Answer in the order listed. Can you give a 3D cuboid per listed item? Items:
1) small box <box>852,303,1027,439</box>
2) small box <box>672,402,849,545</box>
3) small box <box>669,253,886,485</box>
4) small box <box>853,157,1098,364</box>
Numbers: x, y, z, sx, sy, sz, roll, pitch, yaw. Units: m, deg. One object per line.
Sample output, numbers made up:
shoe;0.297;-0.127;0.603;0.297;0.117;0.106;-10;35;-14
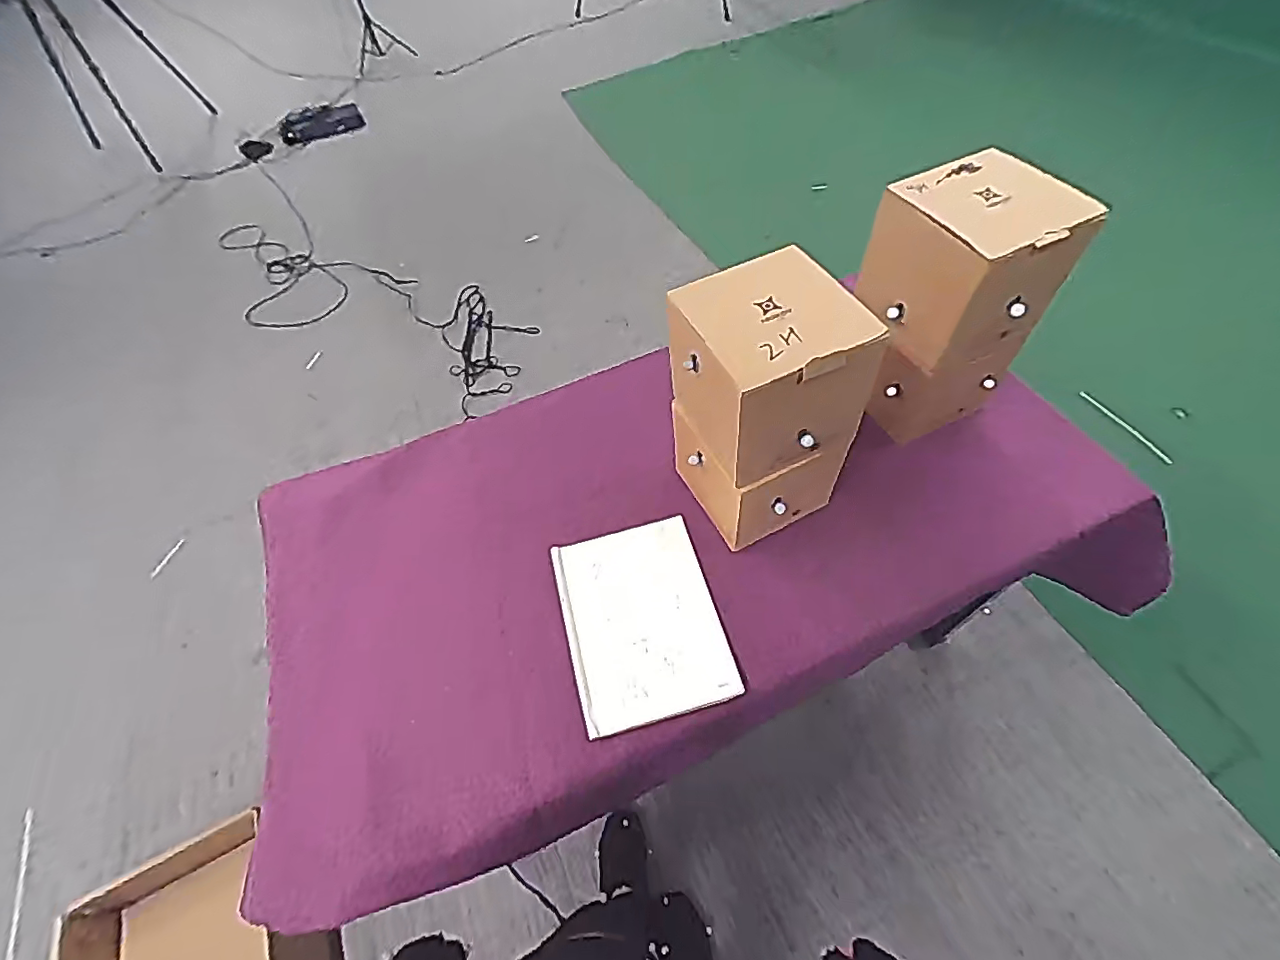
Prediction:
small box;0.431;-0.186;0.836;0.168;0.176;0.179;-23;57;-9
small box;0.160;-0.029;0.765;0.168;0.176;0.179;-25;57;-10
small box;0.144;-0.126;0.632;0.168;0.176;0.179;-23;57;-8
small box;0.410;-0.273;0.698;0.168;0.176;0.179;-22;58;-9
